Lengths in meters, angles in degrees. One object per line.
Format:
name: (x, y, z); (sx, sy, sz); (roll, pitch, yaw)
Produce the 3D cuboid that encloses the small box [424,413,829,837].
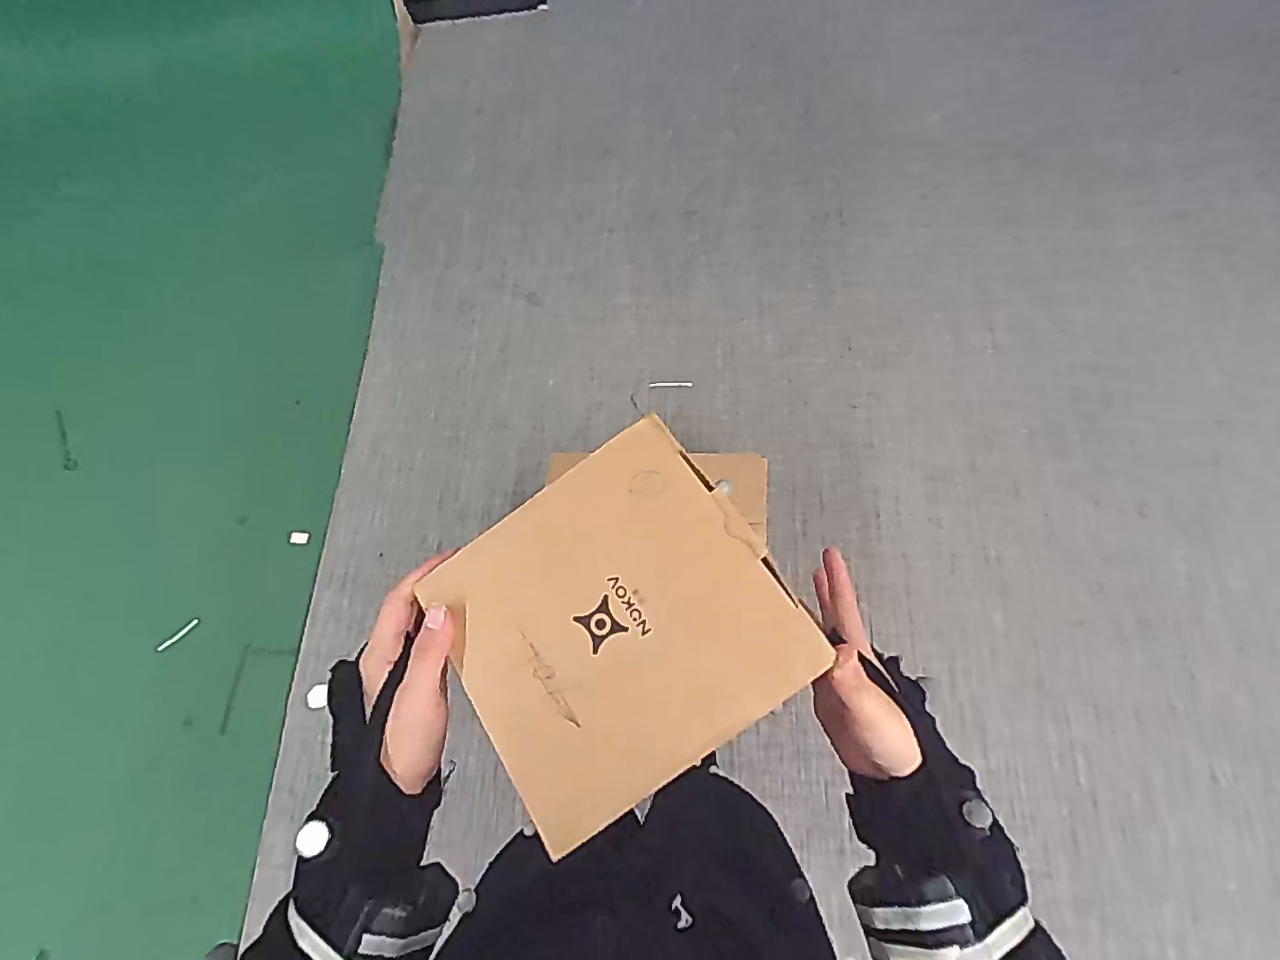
small box: (-0.001, 0.089, 0.373); (0.179, 0.176, 0.168); (-37, 71, 2)
